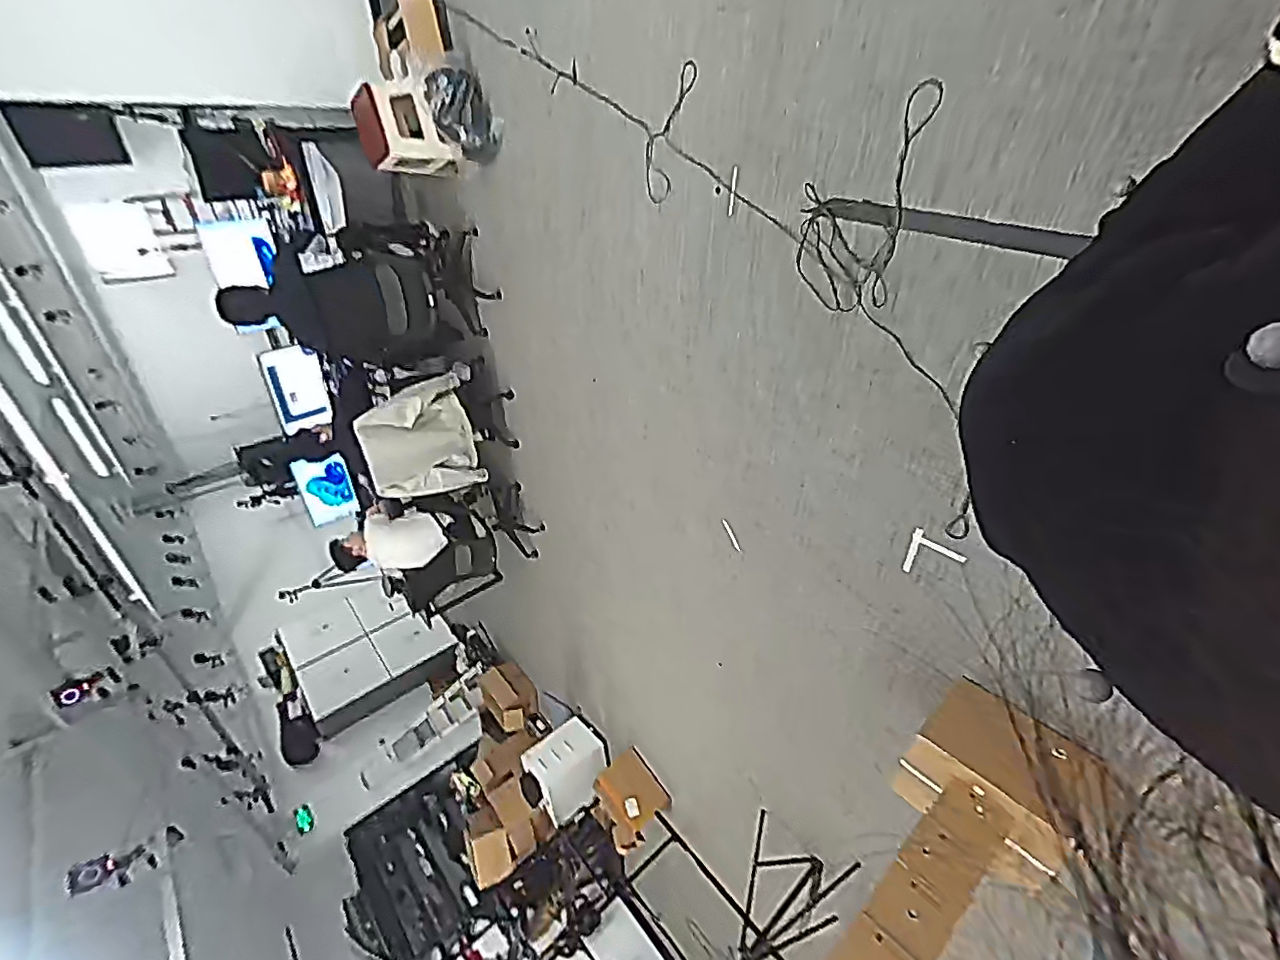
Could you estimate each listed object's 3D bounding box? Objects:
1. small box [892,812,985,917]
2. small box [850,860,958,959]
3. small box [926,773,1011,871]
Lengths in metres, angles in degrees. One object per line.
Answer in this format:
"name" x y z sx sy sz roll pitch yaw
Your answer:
"small box" 0.755 1.008 1.391 0.168 0.176 0.179 31 134 41
"small box" 0.634 1.072 1.299 0.168 0.176 0.179 27 131 44
"small box" 0.880 0.957 1.482 0.168 0.176 0.179 31 133 39
